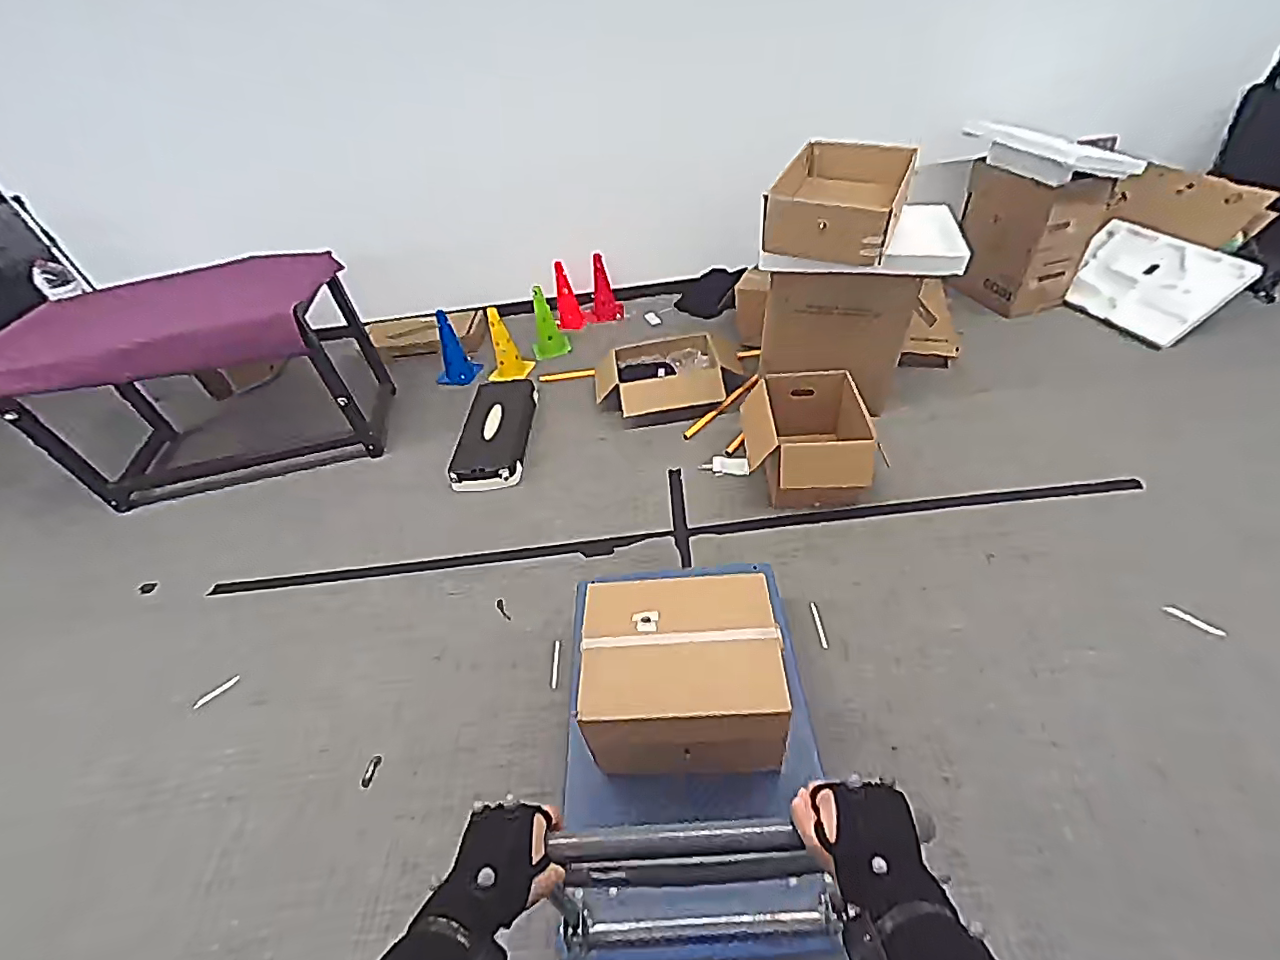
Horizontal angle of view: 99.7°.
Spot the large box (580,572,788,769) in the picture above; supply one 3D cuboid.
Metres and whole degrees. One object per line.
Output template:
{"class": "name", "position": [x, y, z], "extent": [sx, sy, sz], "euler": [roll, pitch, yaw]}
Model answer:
{"class": "large box", "position": [0.099, 0.439, 1.234], "extent": [0.408, 0.320, 0.320], "euler": [-5, 43, 5]}
